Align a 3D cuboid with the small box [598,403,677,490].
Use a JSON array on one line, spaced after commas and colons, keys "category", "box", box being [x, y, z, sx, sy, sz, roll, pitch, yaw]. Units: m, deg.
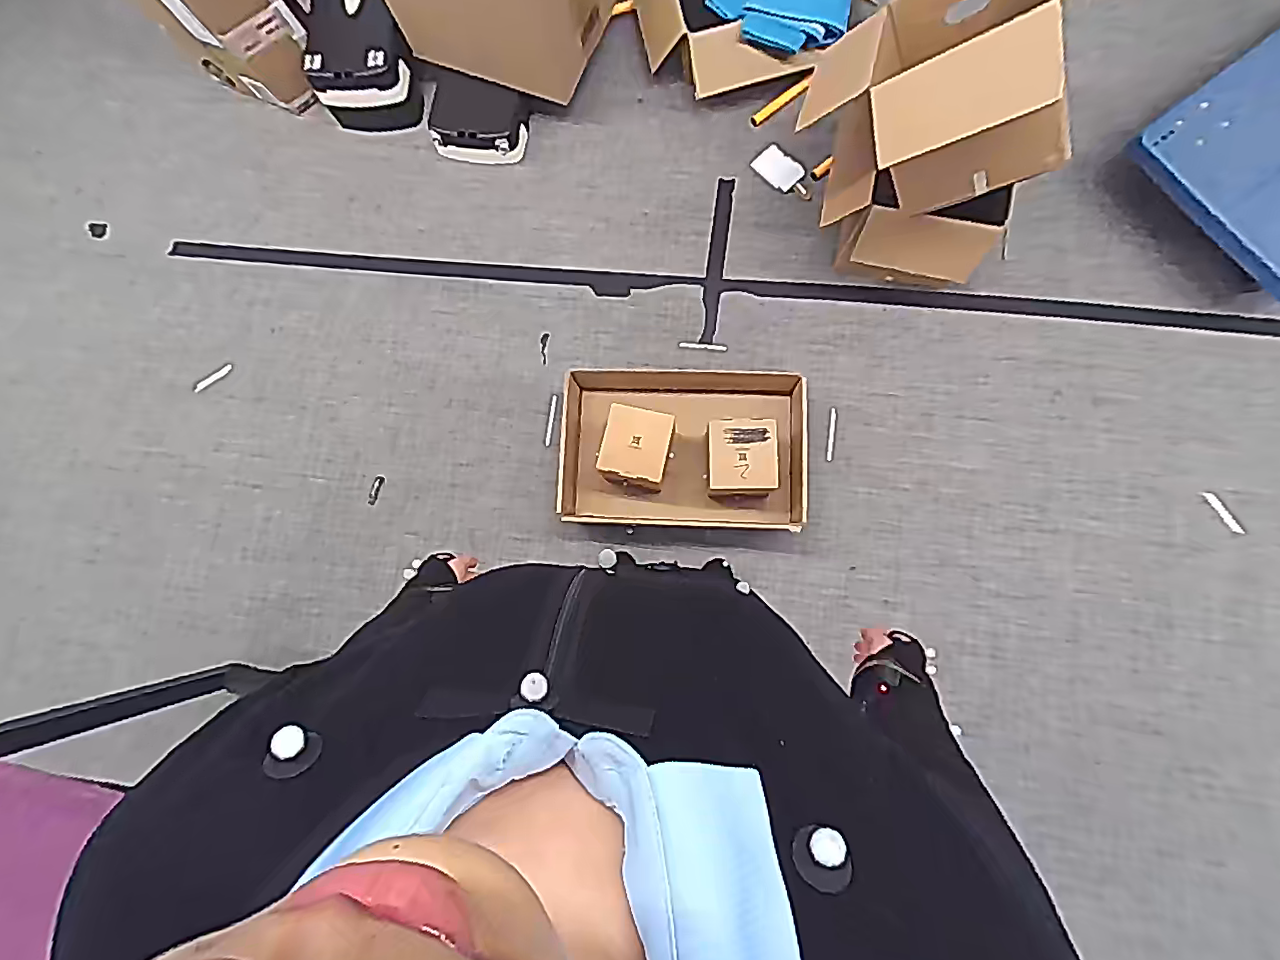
[{"category": "small box", "box": [-0.004, -0.083, 1.418, 0.168, 0.176, 0.179, 12, 83, 5]}]
